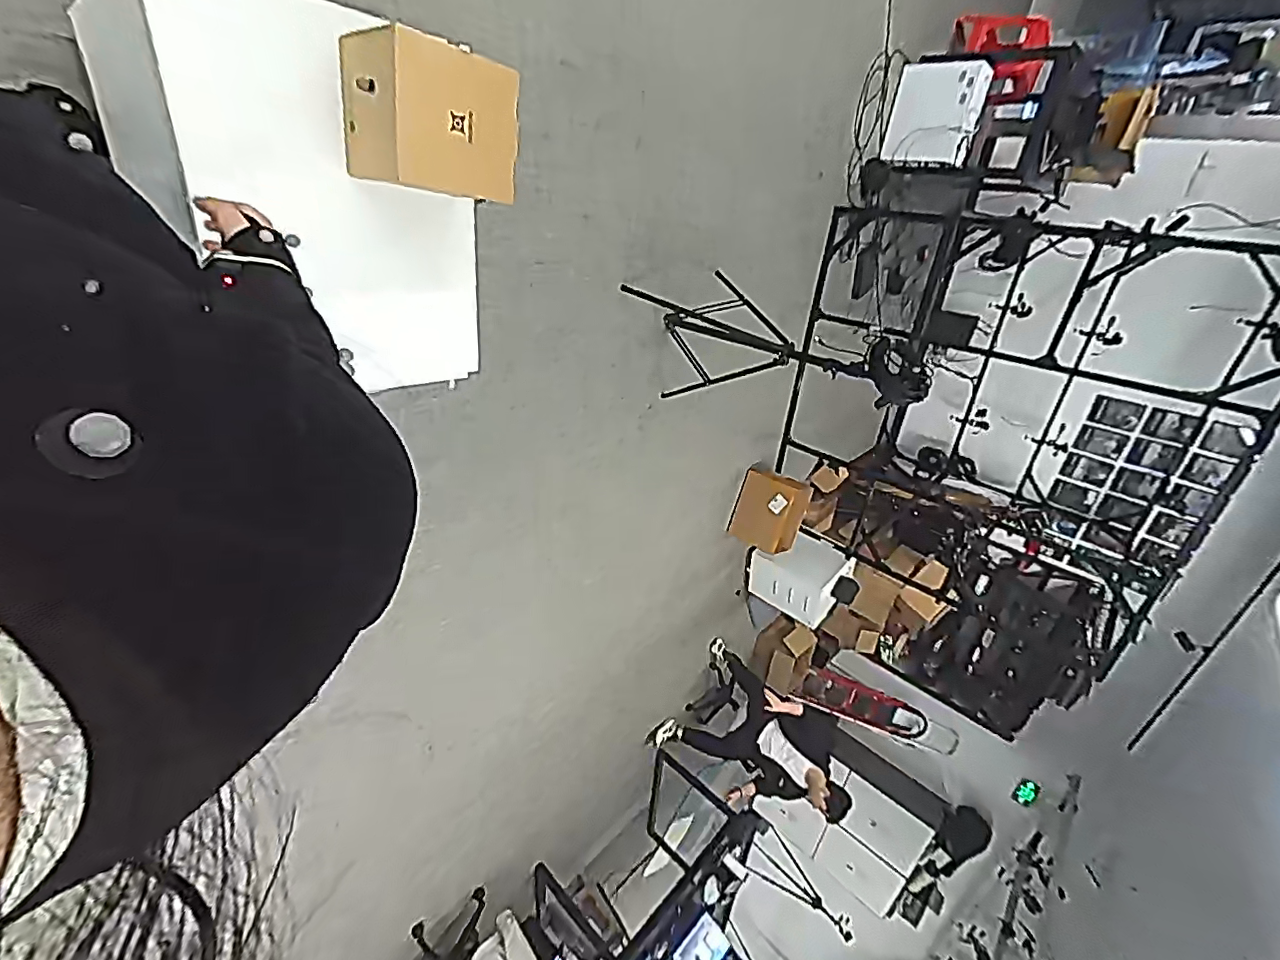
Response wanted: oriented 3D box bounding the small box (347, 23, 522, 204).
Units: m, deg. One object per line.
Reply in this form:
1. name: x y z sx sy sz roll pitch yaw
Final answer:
1. small box: -0.289 -0.494 0.754 0.179 0.176 0.168 -17 125 -45
